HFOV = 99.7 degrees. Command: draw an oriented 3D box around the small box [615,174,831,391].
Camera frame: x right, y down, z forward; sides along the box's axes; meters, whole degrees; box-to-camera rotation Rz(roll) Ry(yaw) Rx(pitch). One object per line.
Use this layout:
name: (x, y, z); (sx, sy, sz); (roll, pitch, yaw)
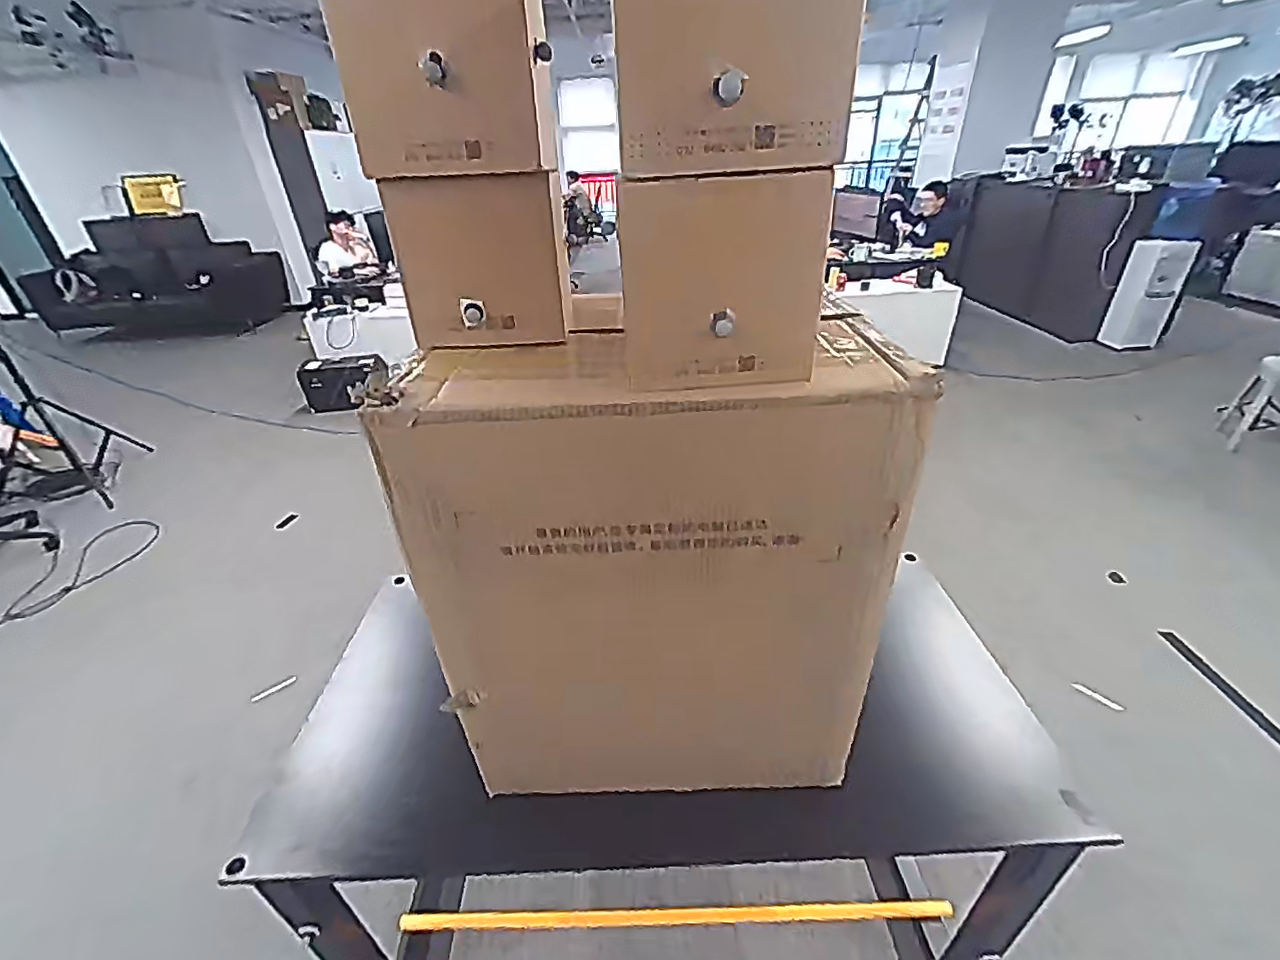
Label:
small box: (0.064, -0.195, 0.517); (0.168, 0.176, 0.179); (-5, 31, 0)

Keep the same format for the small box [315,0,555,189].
small box: (-0.179, -0.385, 0.533); (0.168, 0.176, 0.179); (-4, 31, -2)

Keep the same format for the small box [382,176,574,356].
small box: (-0.170, -0.252, 0.631); (0.168, 0.176, 0.179); (-5, 32, -3)

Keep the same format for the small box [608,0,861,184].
small box: (0.060, -0.333, 0.427); (0.168, 0.176, 0.179); (-4, 32, 1)
